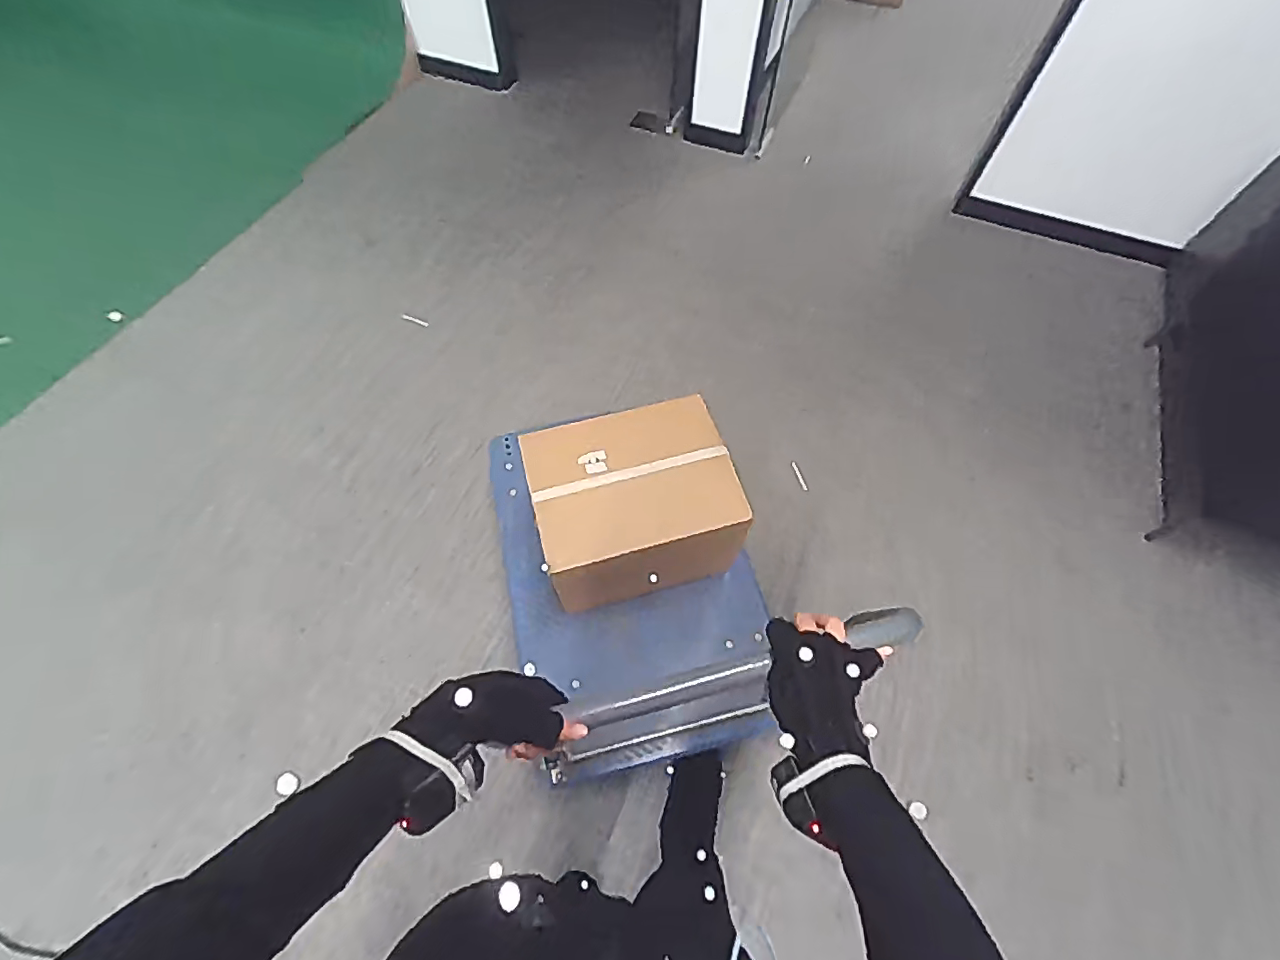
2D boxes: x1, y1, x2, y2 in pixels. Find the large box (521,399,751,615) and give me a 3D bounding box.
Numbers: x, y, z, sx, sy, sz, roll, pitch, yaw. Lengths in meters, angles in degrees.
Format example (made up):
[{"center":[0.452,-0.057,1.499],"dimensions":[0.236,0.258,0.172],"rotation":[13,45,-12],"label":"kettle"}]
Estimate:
[{"center":[-0.016,0.070,1.215],"dimensions":[0.408,0.320,0.320],"rotation":[-15,62,-8],"label":"large box"}]
